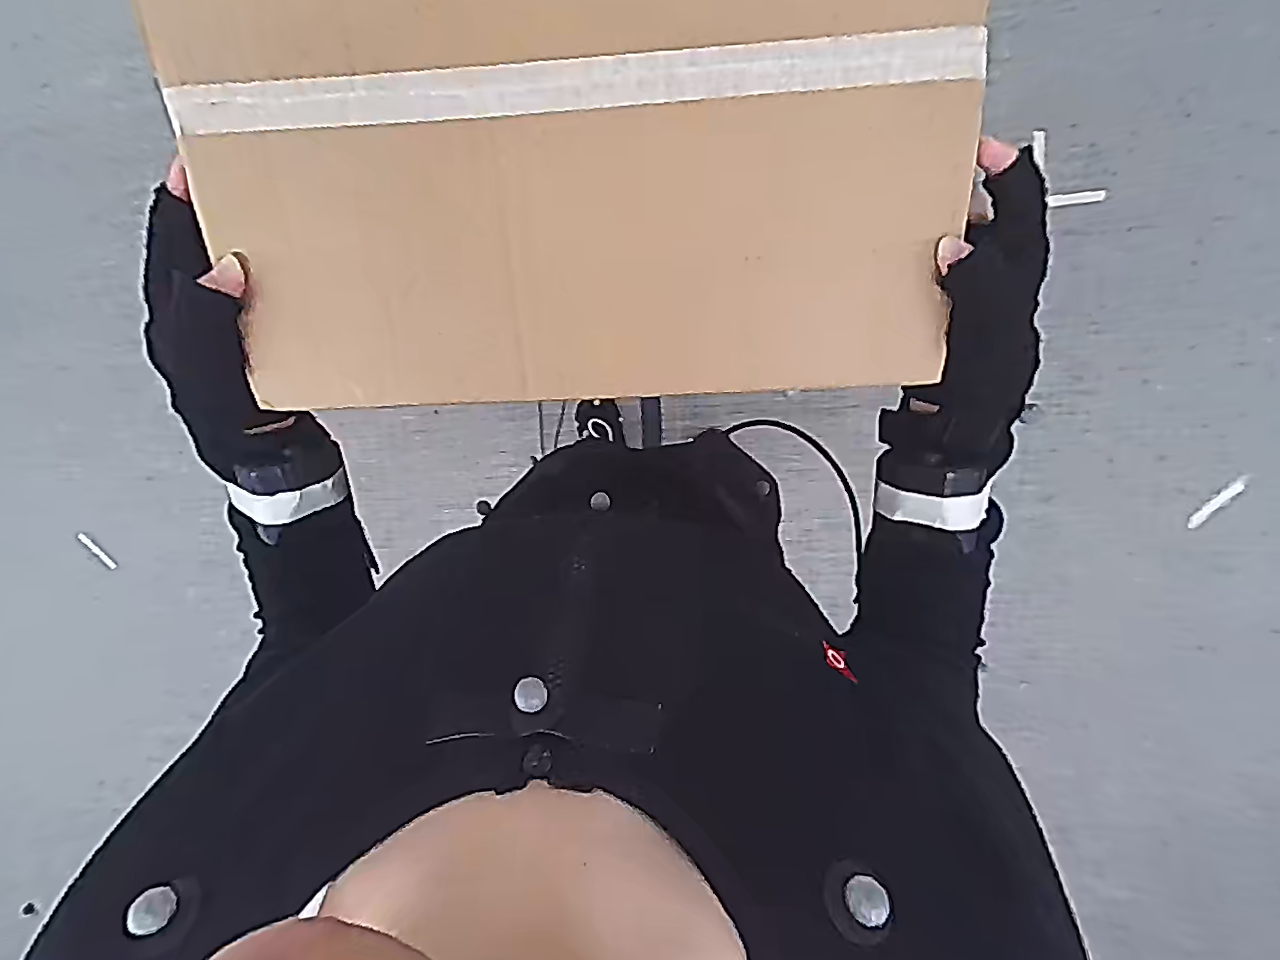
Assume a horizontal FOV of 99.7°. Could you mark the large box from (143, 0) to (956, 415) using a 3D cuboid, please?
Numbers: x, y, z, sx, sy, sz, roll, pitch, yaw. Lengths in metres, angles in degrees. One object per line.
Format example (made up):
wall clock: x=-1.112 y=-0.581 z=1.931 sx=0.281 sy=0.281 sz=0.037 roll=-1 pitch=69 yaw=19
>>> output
large box: x=-0.039 y=-0.248 z=0.417 sx=0.408 sy=0.320 sz=0.320 roll=-3 pitch=110 yaw=3
